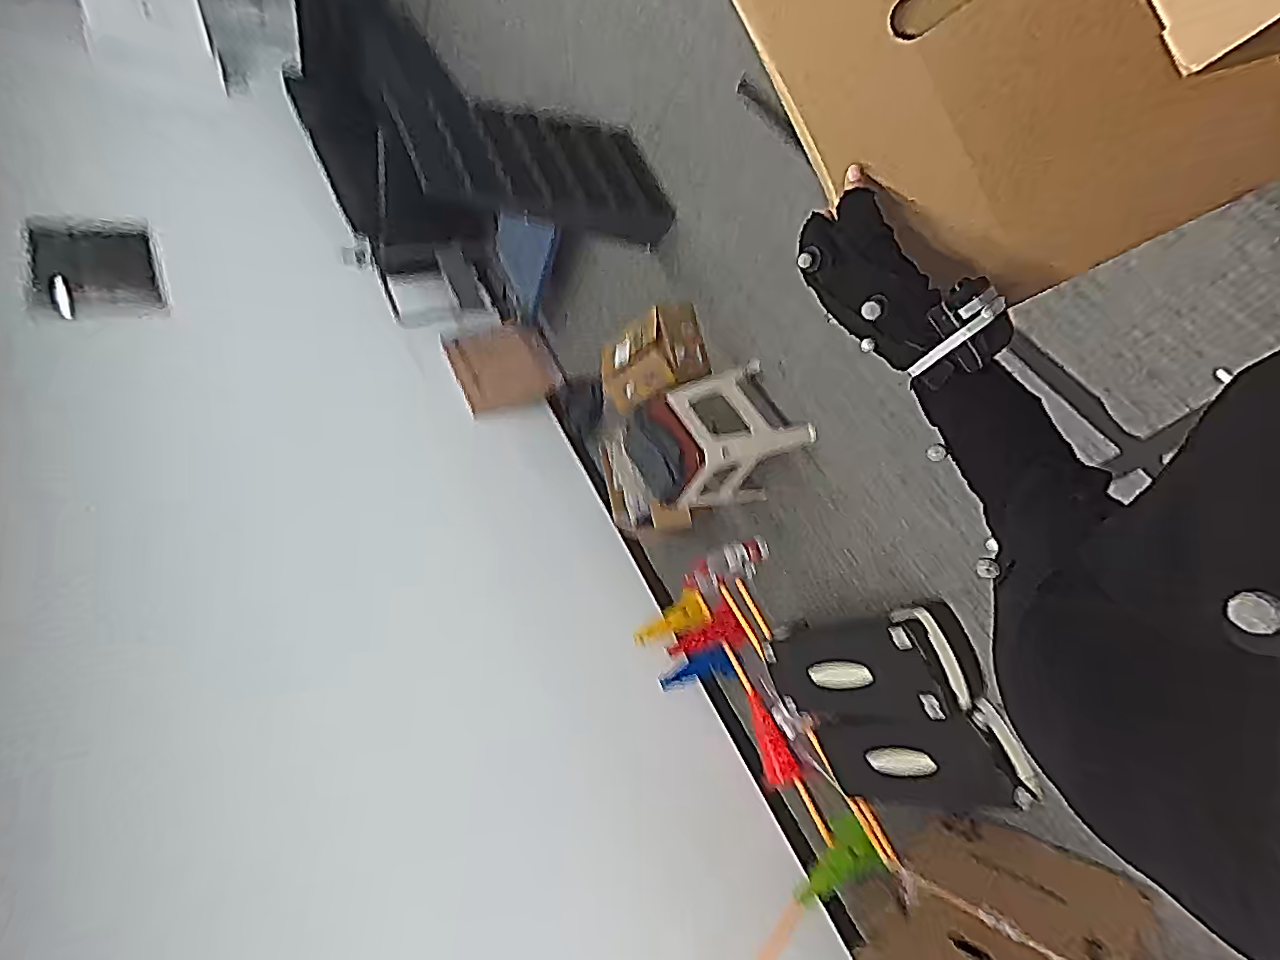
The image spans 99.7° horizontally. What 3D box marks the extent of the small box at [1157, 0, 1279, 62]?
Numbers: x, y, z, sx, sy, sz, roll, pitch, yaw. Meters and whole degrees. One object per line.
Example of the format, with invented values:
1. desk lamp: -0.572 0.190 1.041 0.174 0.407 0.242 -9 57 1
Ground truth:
1. small box: 0.376 -0.356 0.259 0.168 0.176 0.179 65 158 -1
